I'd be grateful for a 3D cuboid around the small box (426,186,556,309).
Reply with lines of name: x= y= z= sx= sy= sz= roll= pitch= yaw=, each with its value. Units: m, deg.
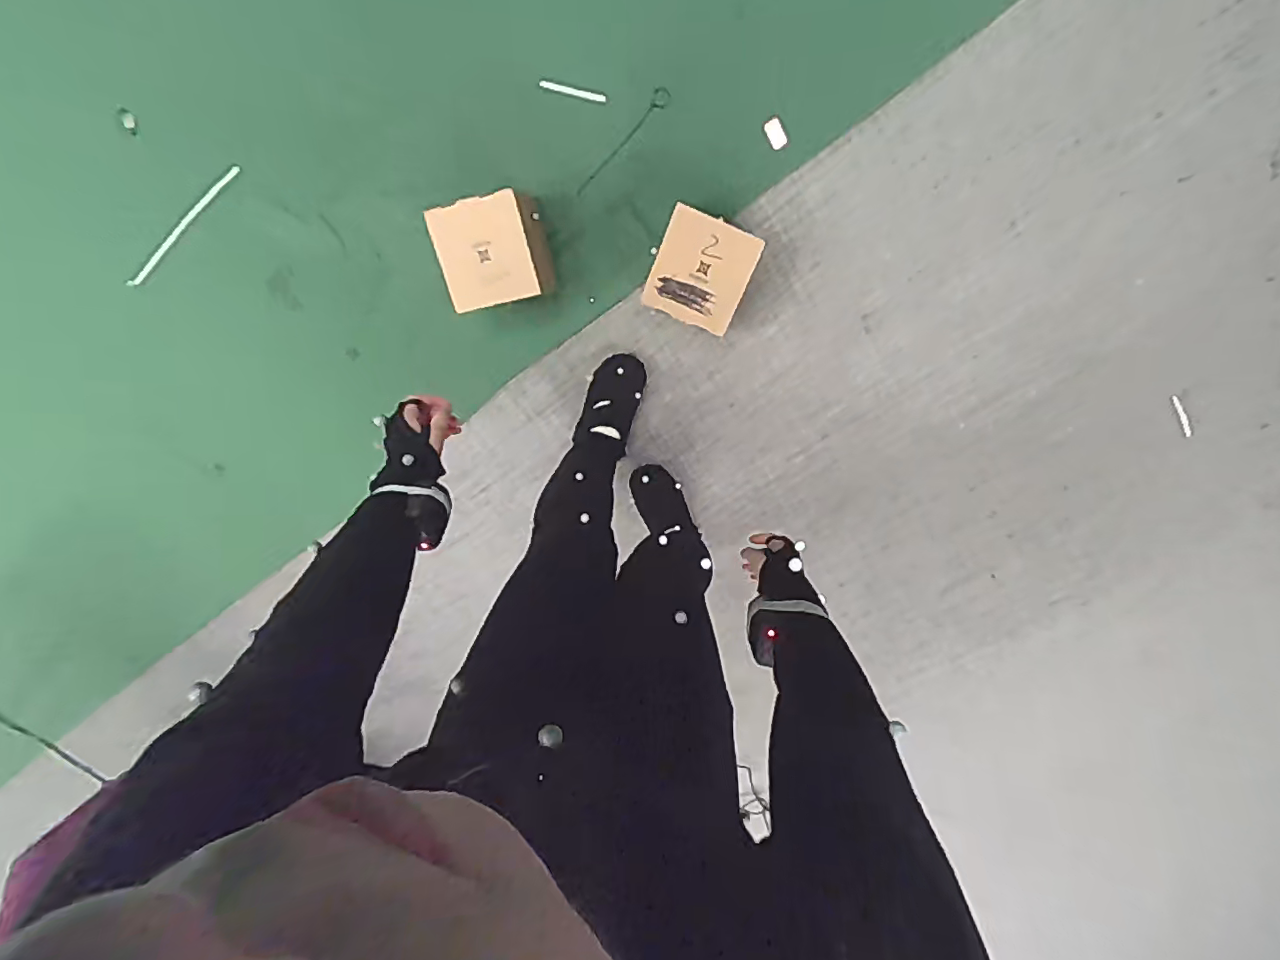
small box: x=-0.270 y=-0.434 z=1.023 sx=0.168 sy=0.176 sz=0.179 roll=-9 pitch=112 yaw=8
